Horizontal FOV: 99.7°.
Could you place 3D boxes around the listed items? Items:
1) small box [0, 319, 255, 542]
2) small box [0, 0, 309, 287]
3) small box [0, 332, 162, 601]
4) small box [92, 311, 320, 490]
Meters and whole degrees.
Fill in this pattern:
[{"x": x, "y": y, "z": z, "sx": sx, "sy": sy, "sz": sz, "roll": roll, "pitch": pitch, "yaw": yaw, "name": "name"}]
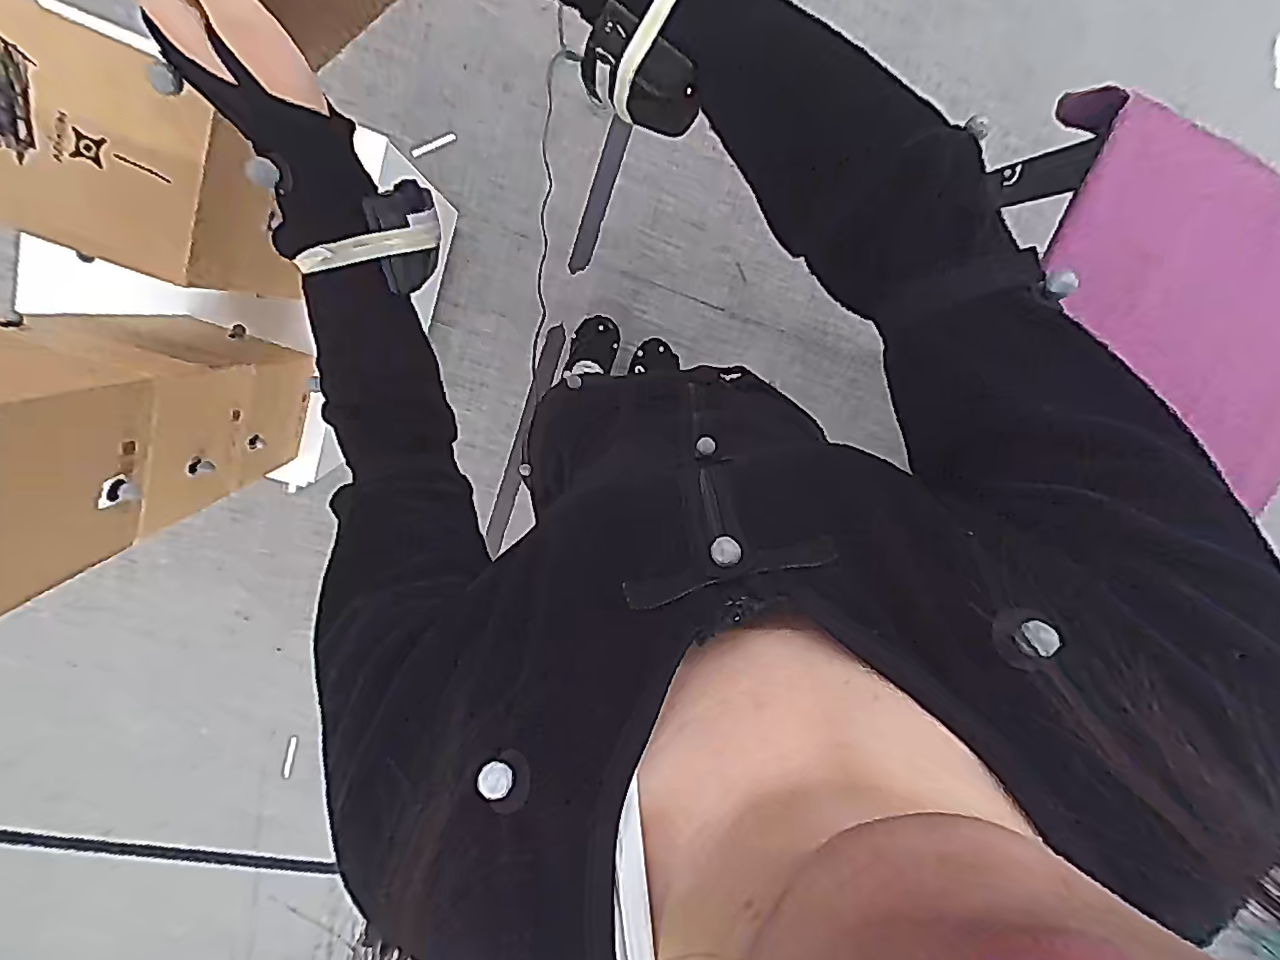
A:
[{"x": -0.533, "y": -0.061, "z": 0.549, "sx": 0.179, "sy": 0.176, "sz": 0.168, "roll": 16, "pitch": 104, "yaw": -12, "name": "small box"}, {"x": -0.443, "y": -0.285, "z": 0.491, "sx": 0.179, "sy": 0.176, "sz": 0.168, "roll": 18, "pitch": 104, "yaw": -14, "name": "small box"}, {"x": -0.511, "y": -0.016, "z": 0.394, "sx": 0.179, "sy": 0.176, "sz": 0.168, "roll": 15, "pitch": 105, "yaw": -13, "name": "small box"}, {"x": -0.558, "y": -0.107, "z": 0.703, "sx": 0.179, "sy": 0.176, "sz": 0.168, "roll": 18, "pitch": 103, "yaw": -12, "name": "small box"}]
